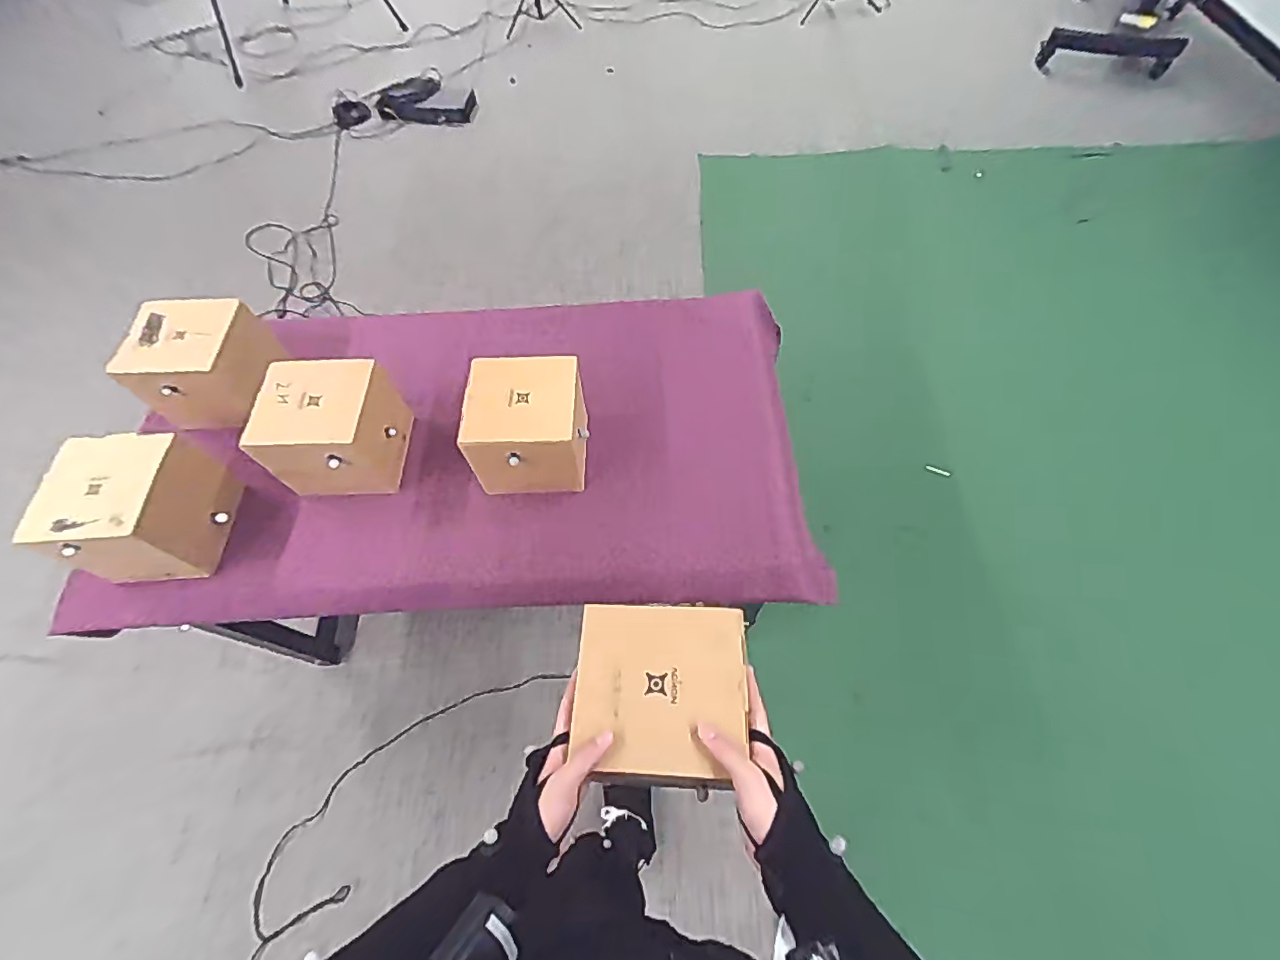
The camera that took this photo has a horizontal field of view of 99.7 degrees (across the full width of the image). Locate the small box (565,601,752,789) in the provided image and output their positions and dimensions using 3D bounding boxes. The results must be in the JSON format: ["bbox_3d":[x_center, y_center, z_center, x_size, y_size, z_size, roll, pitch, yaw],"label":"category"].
[{"bbox_3d":[0.027,0.246,0.609,0.179,0.176,0.168,0,57,7],"label":"small box"}]

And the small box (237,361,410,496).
[{"bbox_3d":[-0.513,-0.082,0.910,0.179,0.176,0.168,-1,61,1],"label":"small box"}]

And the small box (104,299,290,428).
[{"bbox_3d":[-0.786,-0.206,0.985,0.179,0.176,0.168,-1,62,0],"label":"small box"}]

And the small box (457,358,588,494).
[{"bbox_3d":[-0.183,-0.085,0.906,0.179,0.176,0.168,-2,62,2],"label":"small box"}]

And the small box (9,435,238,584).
[{"bbox_3d":[-0.780,0.050,0.846,0.168,0.176,0.179,-4,60,0],"label":"small box"}]
